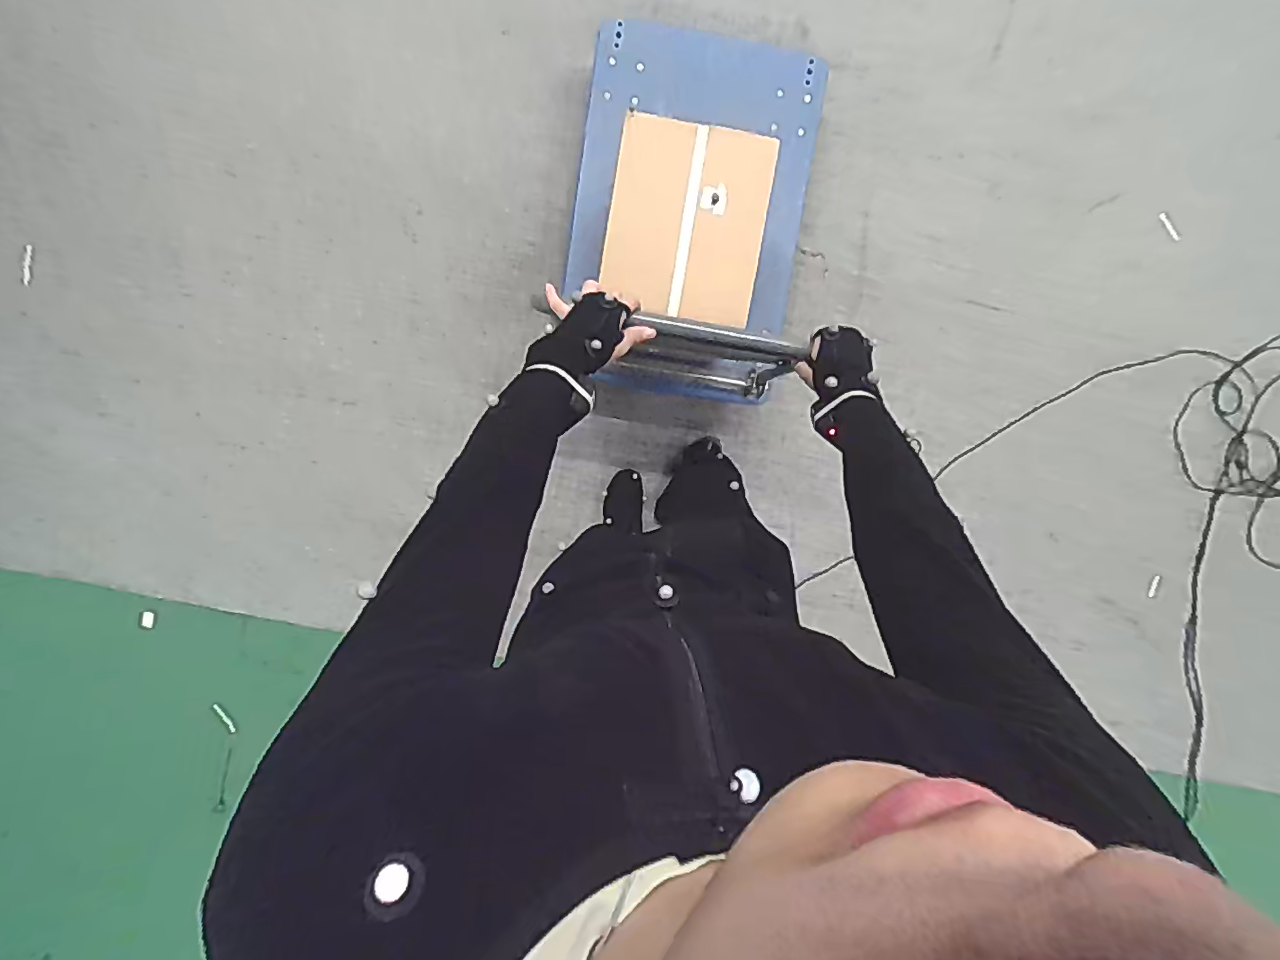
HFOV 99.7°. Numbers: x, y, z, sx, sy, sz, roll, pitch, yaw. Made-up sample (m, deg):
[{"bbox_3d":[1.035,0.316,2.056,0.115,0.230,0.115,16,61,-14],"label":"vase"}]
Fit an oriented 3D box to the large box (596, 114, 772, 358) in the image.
[{"bbox_3d":[0.084,-0.516,1.233,0.320,0.320,0.408,9,94,-3],"label":"large box"}]
